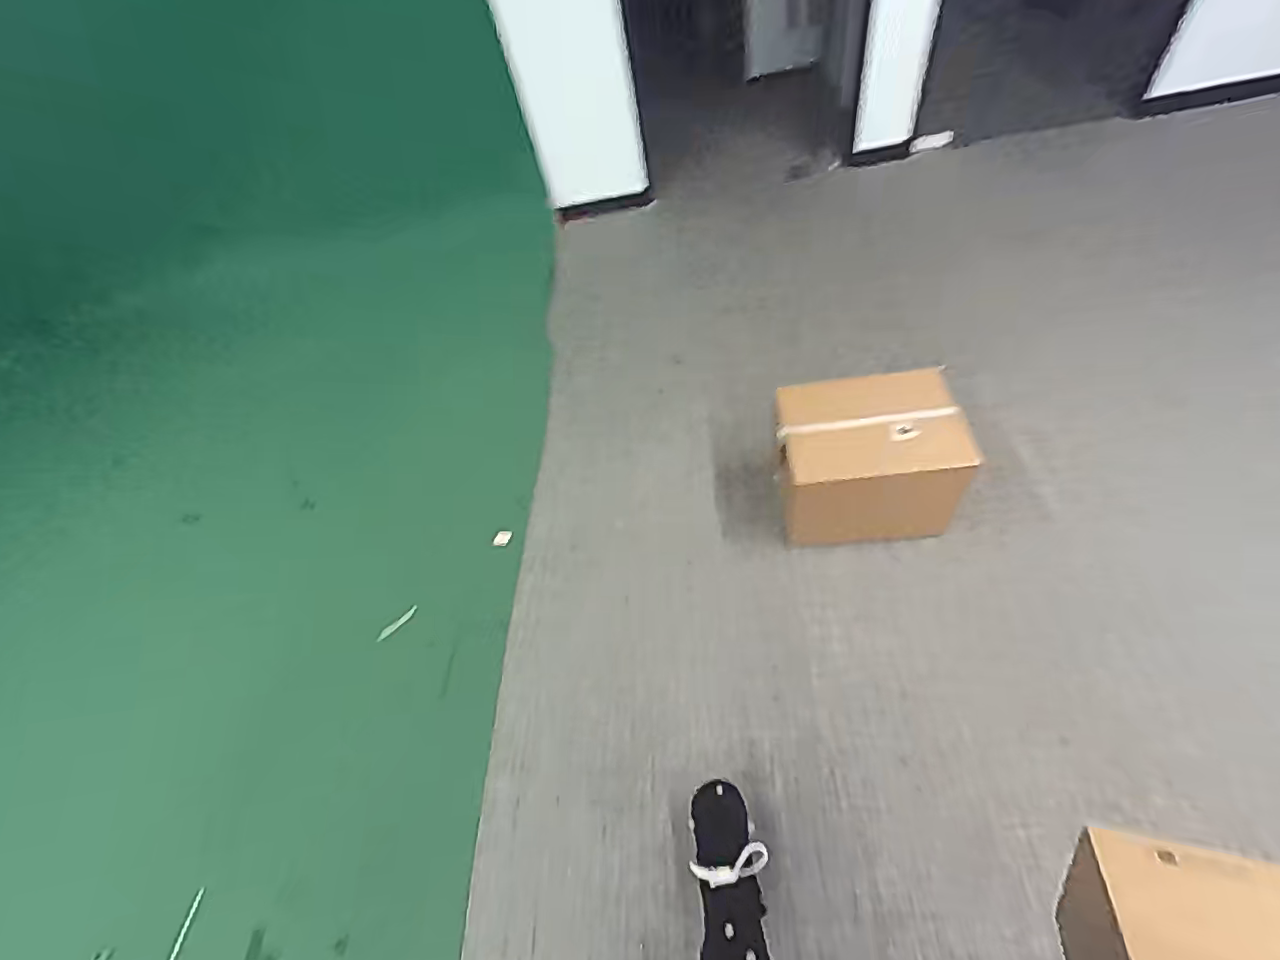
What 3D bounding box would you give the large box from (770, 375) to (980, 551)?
[{"bbox_3d":[0.570,-0.035,1.411,0.408,0.320,0.320,-6,54,7],"label":"large box"}]
